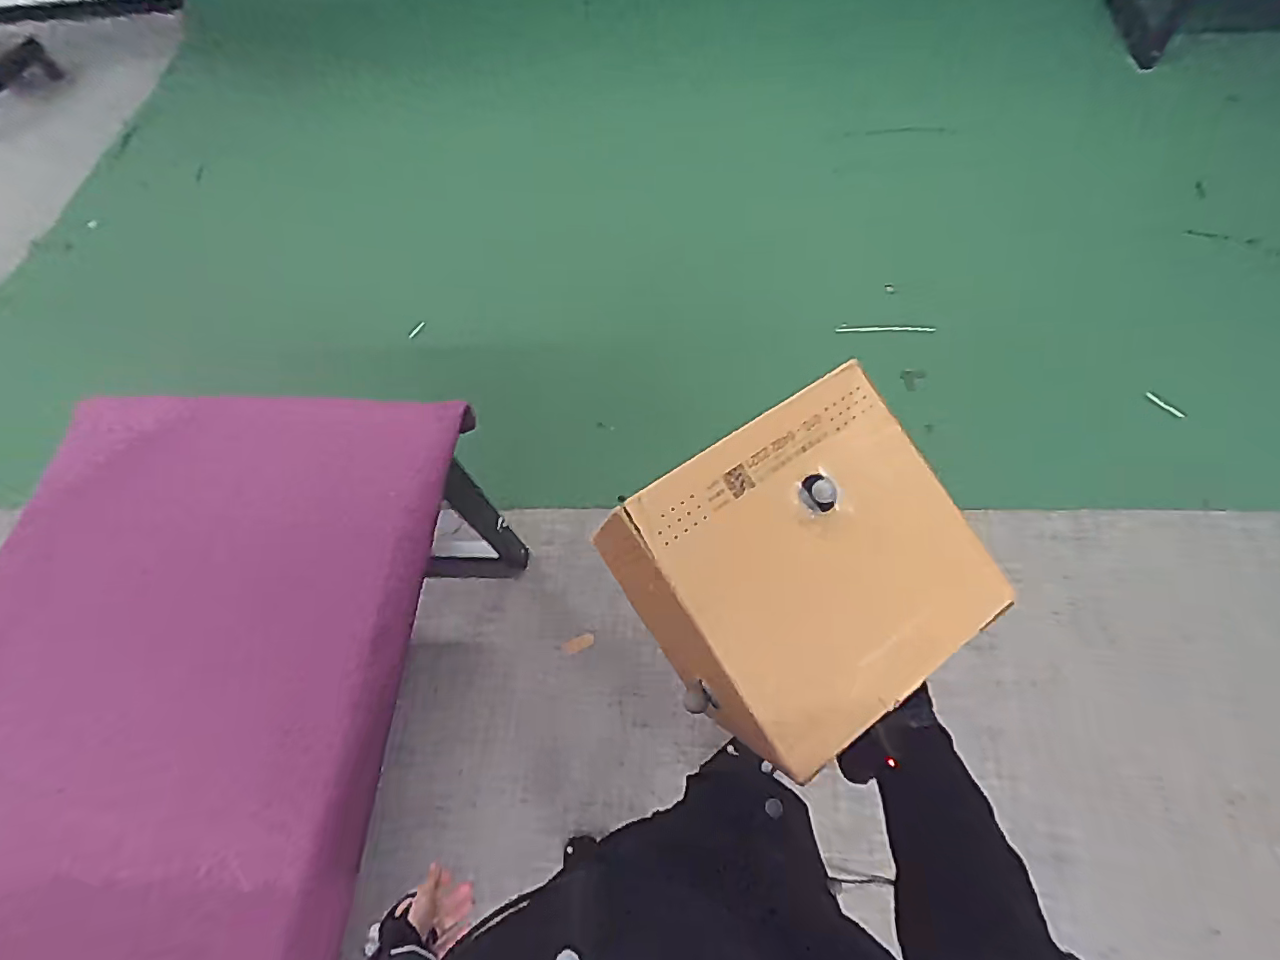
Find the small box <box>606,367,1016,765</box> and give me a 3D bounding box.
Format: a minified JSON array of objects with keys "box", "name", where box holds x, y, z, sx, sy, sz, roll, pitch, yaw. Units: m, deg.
[{"box":[0.091,0.050,0.373,0.168,0.179,0.176,-30,84,-14],"name":"small box"}]
